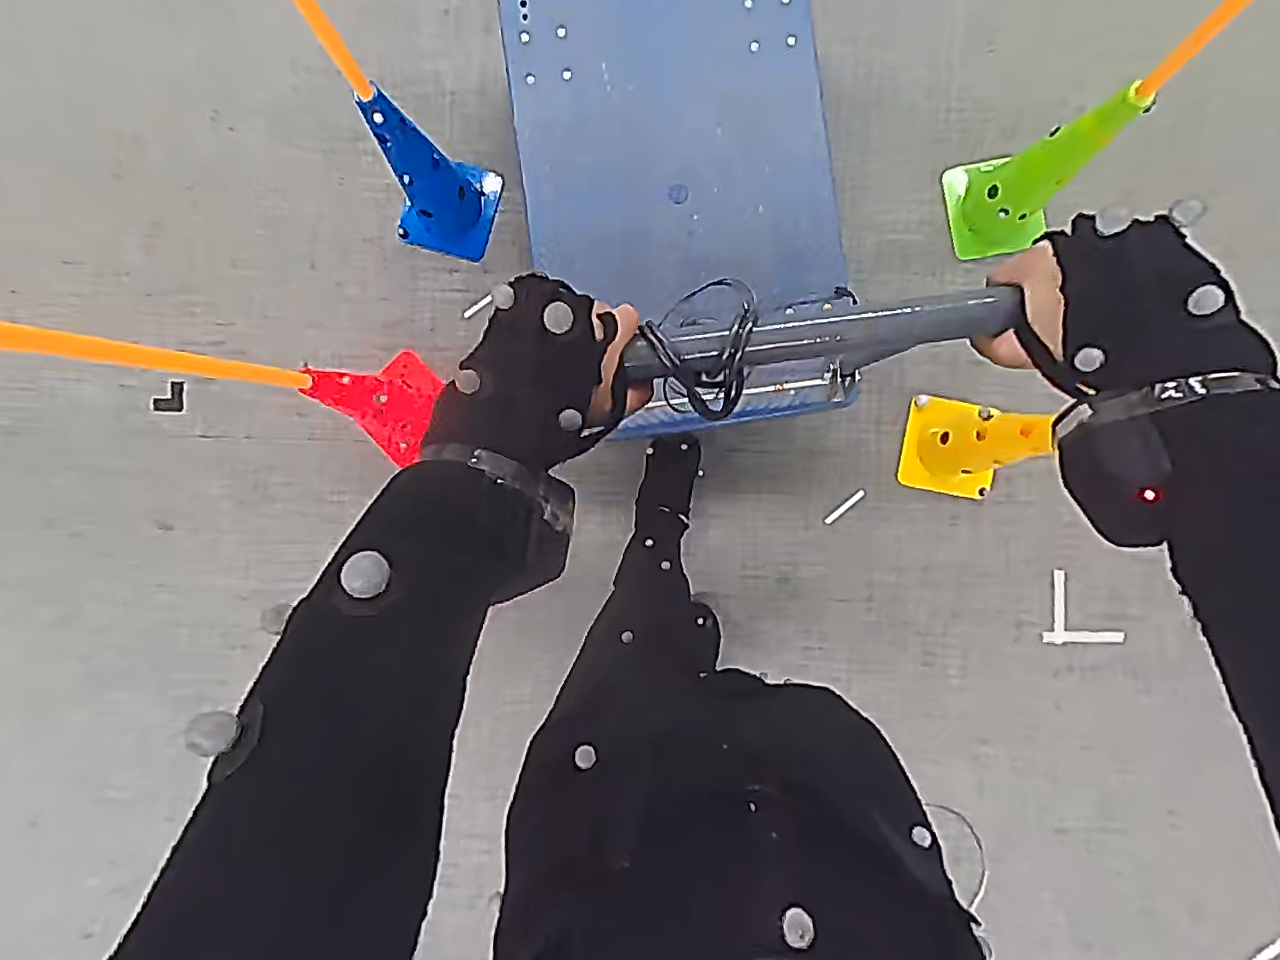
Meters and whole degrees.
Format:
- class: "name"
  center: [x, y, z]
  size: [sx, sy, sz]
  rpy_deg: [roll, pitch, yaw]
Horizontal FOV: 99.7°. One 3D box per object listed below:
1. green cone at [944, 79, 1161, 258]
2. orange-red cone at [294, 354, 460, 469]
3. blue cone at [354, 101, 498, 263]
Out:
- class: "green cone"
  center: [0.758, -0.586, 0.985]
  size: [0.200, 0.368, 0.202]
  rpy_deg: [-12, 91, 1]
- class: "orange-red cone"
  center: [-0.519, -0.153, 1.012]
  size: [0.199, 0.360, 0.198]
  rpy_deg: [-42, 90, -1]
- class: "blue cone"
  center: [-0.423, -0.586, 1.028]
  size: [0.193, 0.380, 0.192]
  rpy_deg: [17, 91, 1]
